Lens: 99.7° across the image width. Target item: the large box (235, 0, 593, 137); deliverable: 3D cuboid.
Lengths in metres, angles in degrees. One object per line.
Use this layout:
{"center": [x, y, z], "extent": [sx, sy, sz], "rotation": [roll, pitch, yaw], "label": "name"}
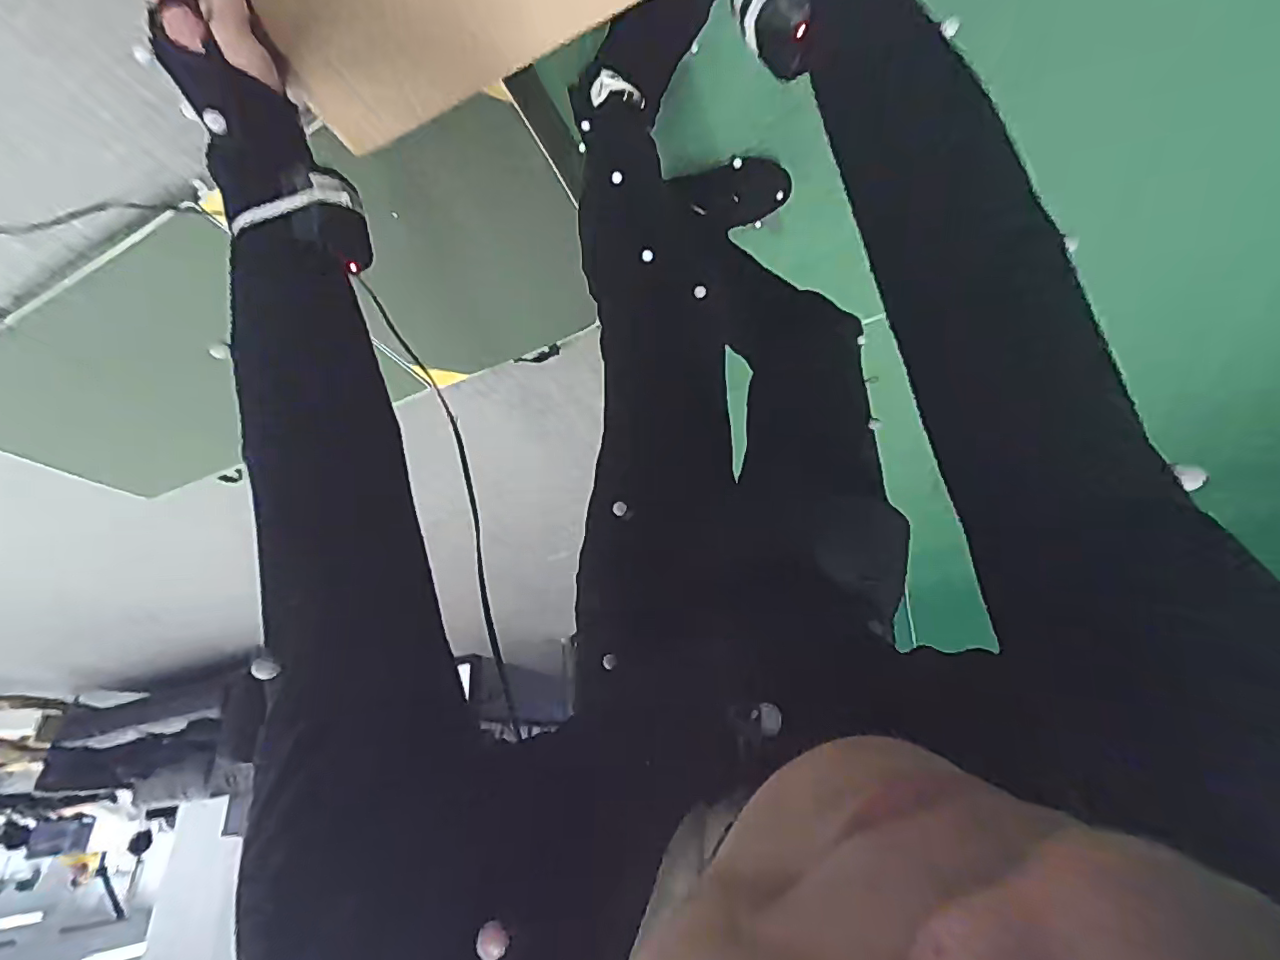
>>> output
{"center": [-0.173, -0.580, 0.417], "extent": [0.408, 0.320, 0.320], "rotation": [-18, 153, 15], "label": "large box"}
